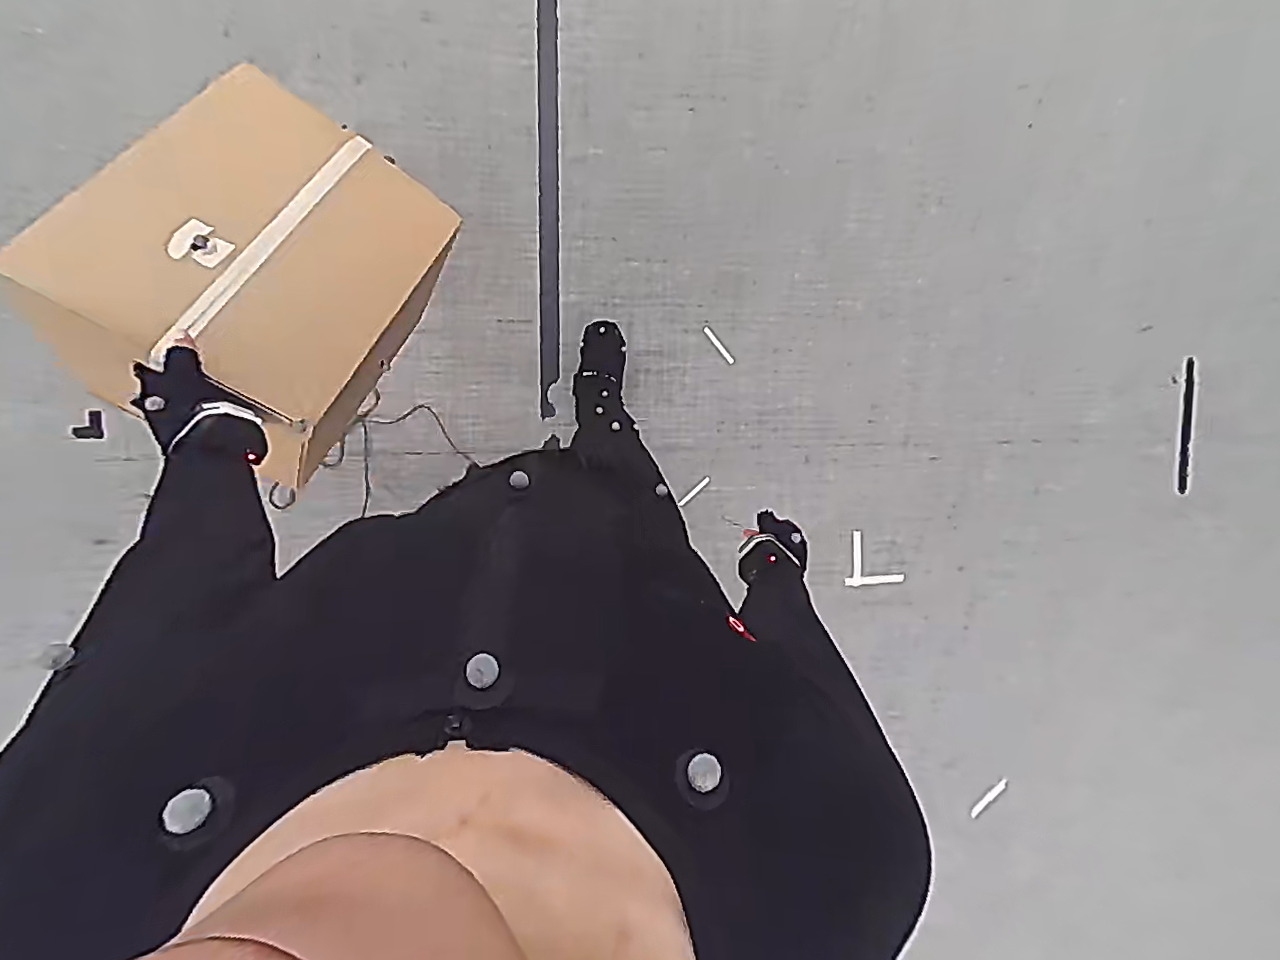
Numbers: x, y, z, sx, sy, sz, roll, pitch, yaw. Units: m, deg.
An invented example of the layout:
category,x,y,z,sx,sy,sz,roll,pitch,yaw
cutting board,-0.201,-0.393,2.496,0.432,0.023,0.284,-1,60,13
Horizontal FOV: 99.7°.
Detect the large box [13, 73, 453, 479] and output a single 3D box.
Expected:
category,x,y,z,sx,sy,sz,roll,pitch,yaw
large box,-0.541,-0.271,0.812,0.320,0.320,0.408,30,62,-21
